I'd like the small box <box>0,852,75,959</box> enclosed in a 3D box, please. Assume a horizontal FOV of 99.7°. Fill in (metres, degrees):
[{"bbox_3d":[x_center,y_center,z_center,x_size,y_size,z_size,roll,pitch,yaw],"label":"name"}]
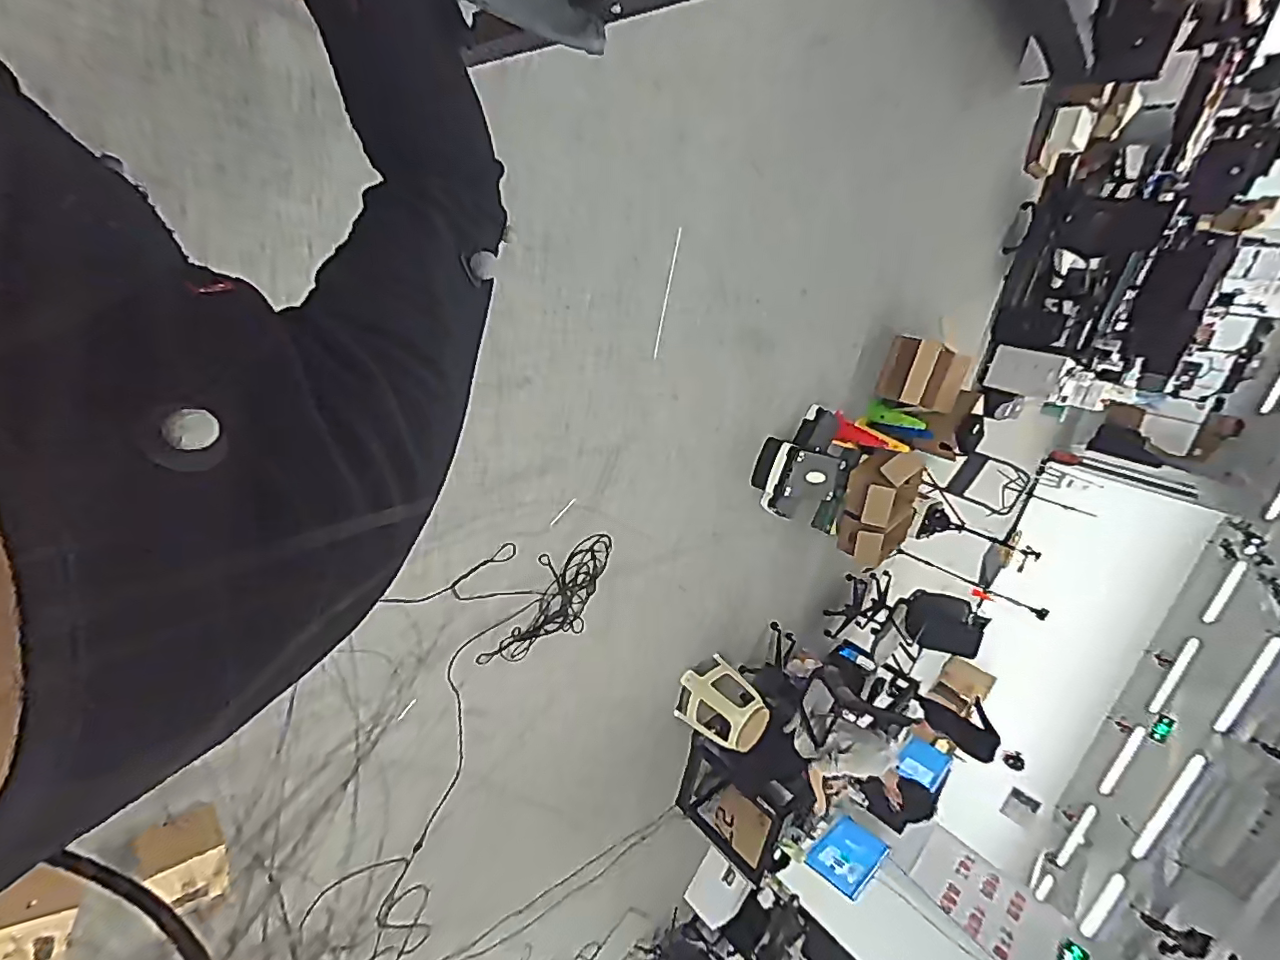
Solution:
[{"bbox_3d":[-1.431,0.998,1.231,0.179,0.176,0.168,15,99,-49],"label":"small box"}]
